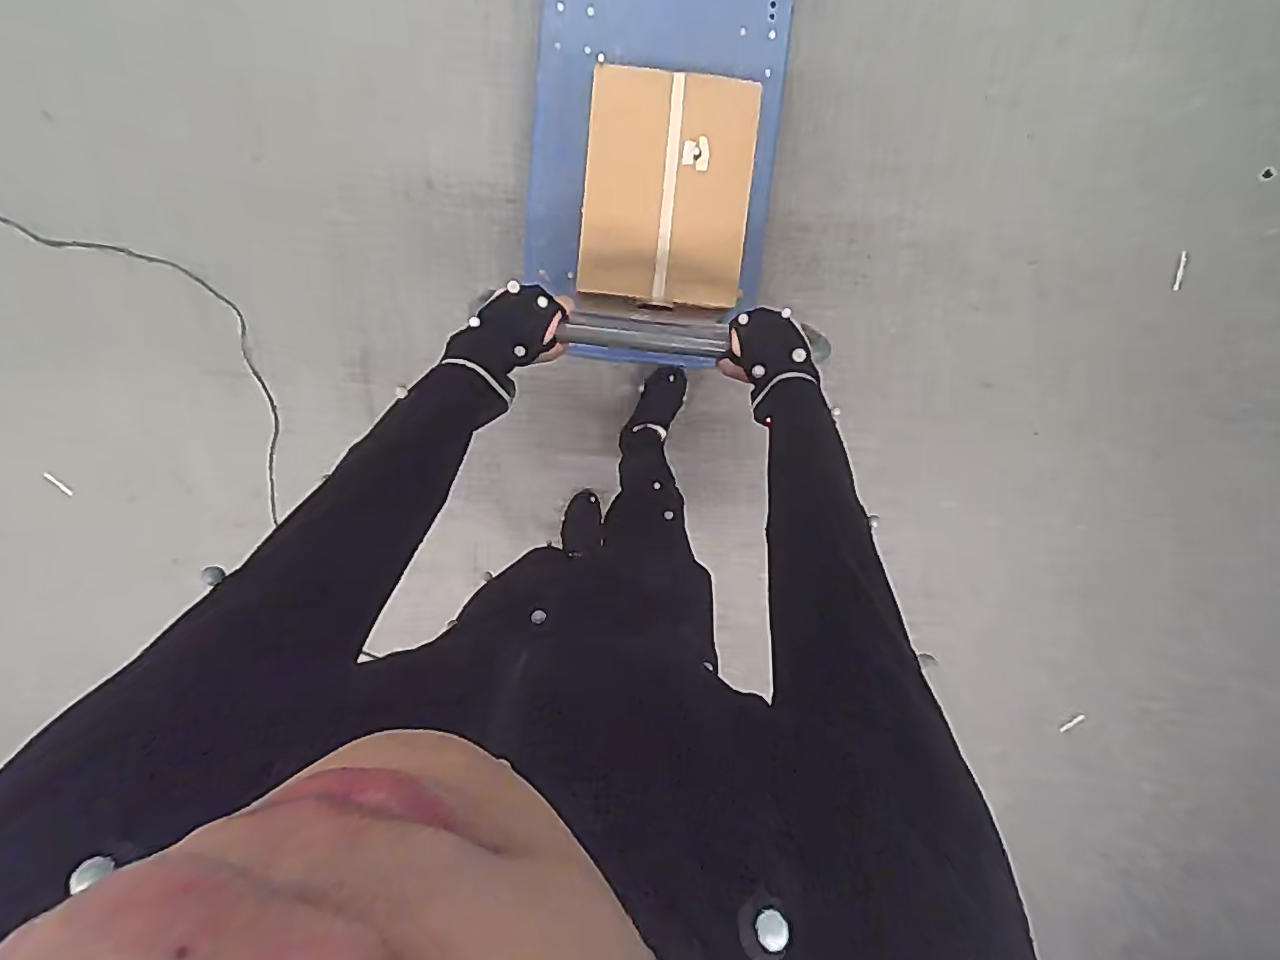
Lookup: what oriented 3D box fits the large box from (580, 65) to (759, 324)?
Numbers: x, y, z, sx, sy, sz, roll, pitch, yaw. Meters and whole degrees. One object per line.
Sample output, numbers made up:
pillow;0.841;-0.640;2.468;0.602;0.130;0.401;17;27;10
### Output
large box;0.049;-0.570;1.166;0.320;0.320;0.408;5;98;-3
